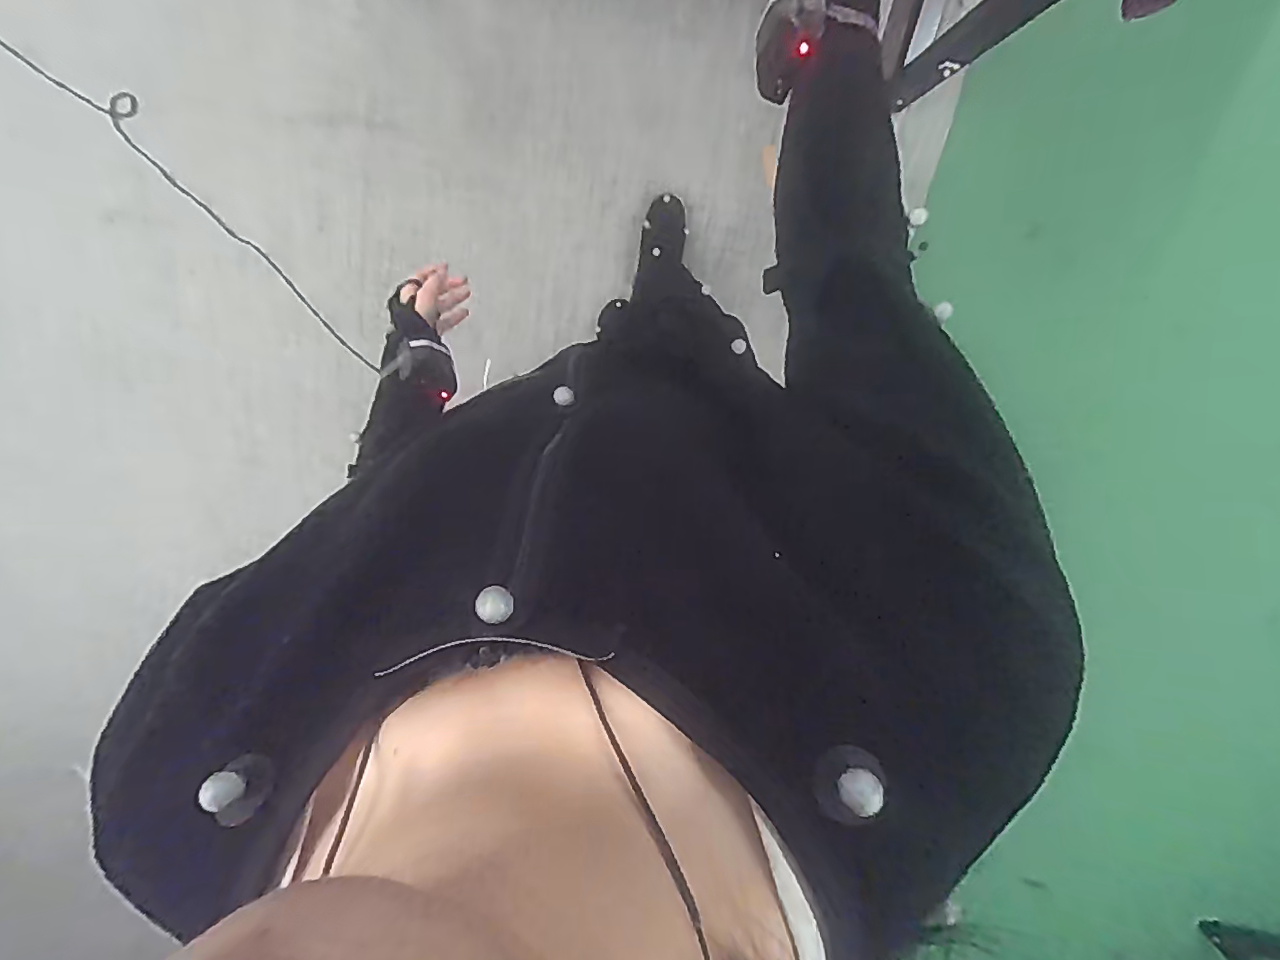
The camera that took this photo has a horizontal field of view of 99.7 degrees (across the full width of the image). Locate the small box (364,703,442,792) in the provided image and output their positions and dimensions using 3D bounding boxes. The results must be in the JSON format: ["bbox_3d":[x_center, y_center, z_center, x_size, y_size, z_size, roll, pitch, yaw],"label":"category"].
[{"bbox_3d":[-0.758,0.858,1.745,0.168,0.176,0.179,18,109,-5],"label":"small box"}]
